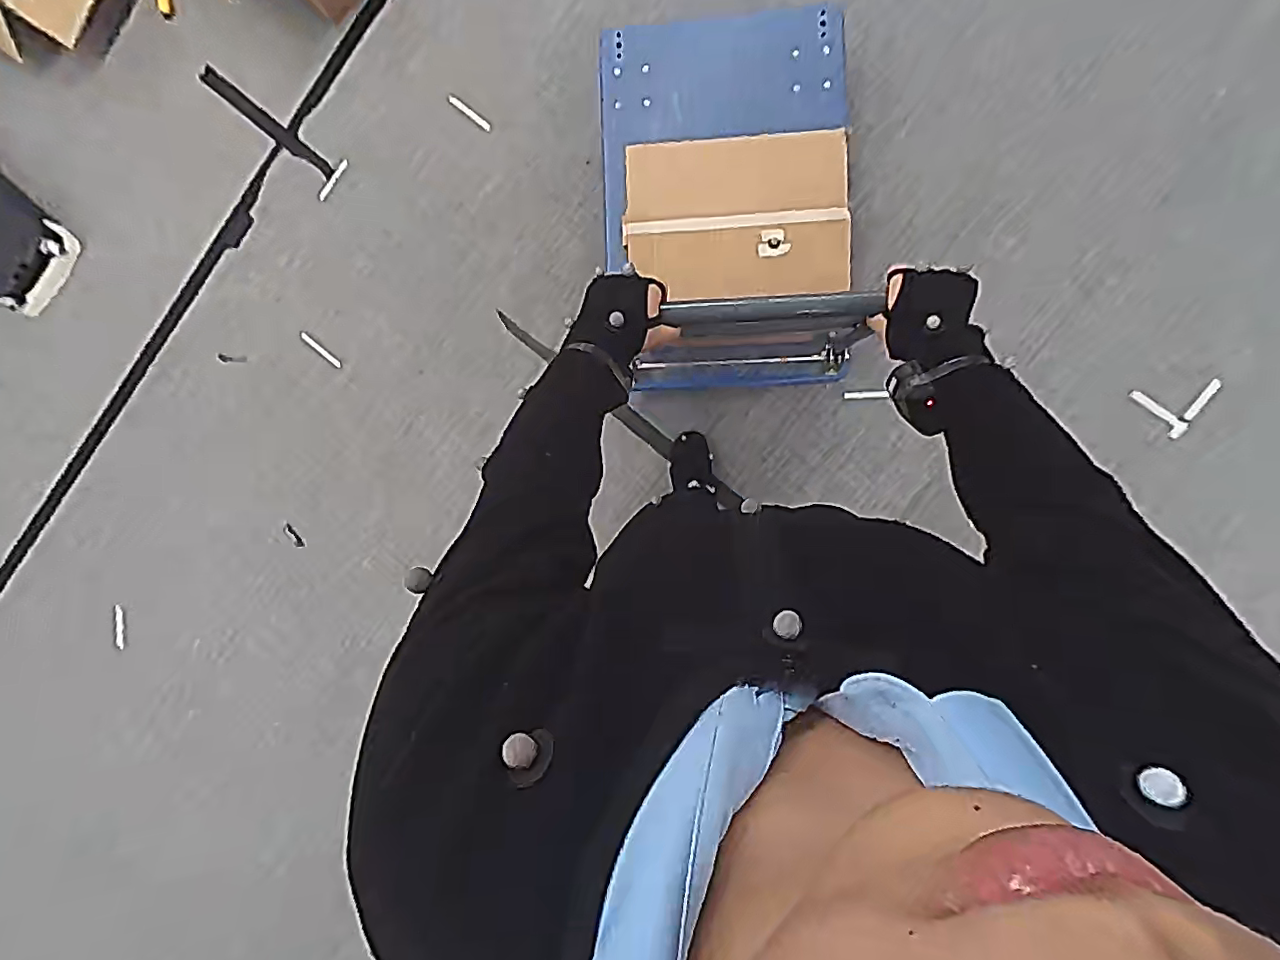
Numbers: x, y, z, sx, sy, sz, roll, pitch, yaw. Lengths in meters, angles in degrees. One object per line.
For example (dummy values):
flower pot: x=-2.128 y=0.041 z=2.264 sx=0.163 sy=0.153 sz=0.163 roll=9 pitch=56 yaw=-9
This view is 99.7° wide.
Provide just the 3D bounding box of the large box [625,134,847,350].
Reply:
large box: x=0.185 y=-0.472 z=1.147 sx=0.408 sy=0.320 sz=0.320 roll=-2 pitch=92 yaw=4
